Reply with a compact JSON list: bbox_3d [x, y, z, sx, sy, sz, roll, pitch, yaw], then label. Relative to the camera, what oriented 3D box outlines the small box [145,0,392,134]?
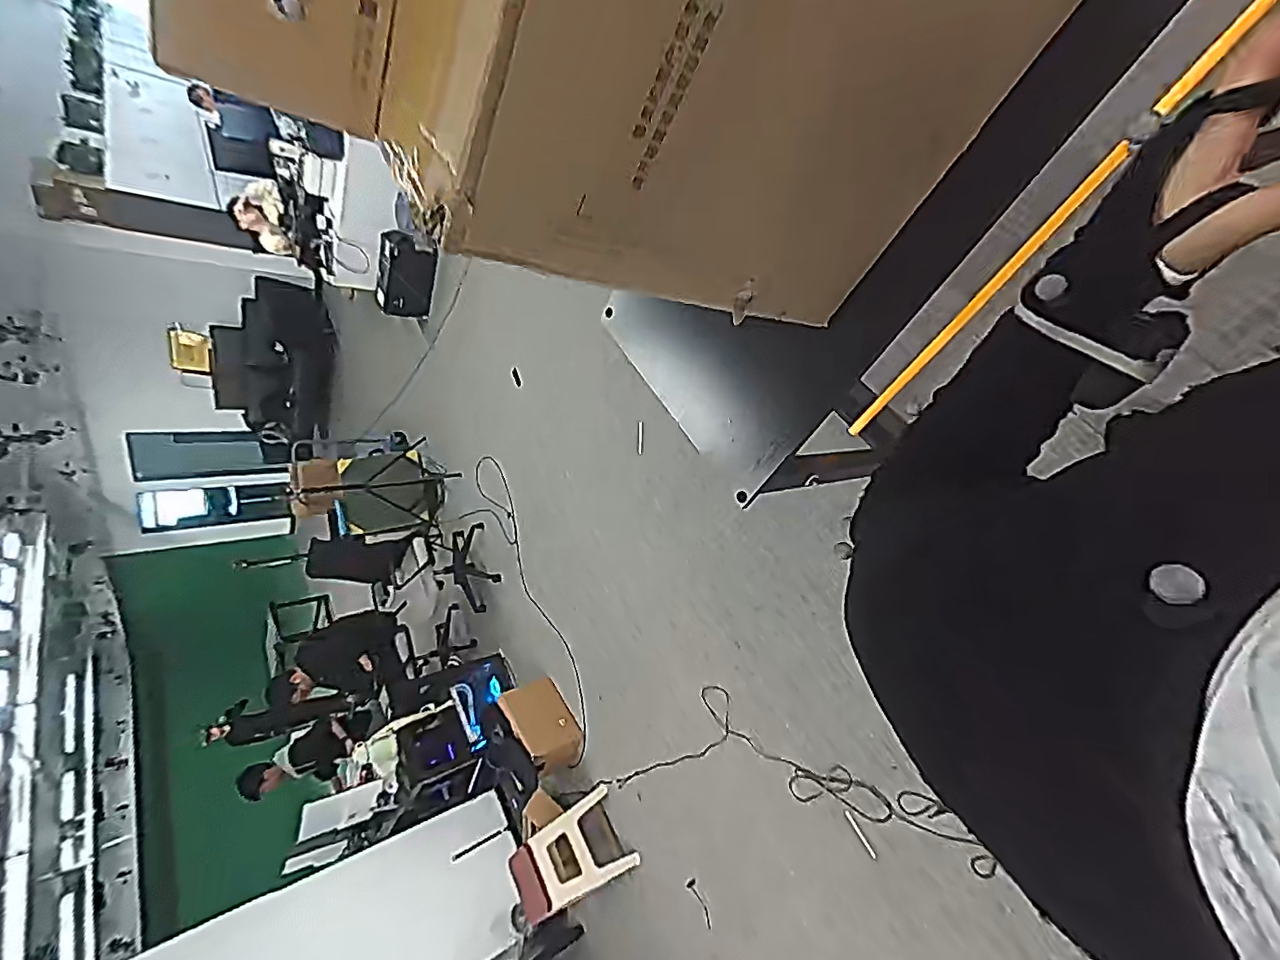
[{"bbox_3d":[-0.337,-0.447,0.489,0.179,0.176,0.168,54,131,31],"label":"small box"}]
